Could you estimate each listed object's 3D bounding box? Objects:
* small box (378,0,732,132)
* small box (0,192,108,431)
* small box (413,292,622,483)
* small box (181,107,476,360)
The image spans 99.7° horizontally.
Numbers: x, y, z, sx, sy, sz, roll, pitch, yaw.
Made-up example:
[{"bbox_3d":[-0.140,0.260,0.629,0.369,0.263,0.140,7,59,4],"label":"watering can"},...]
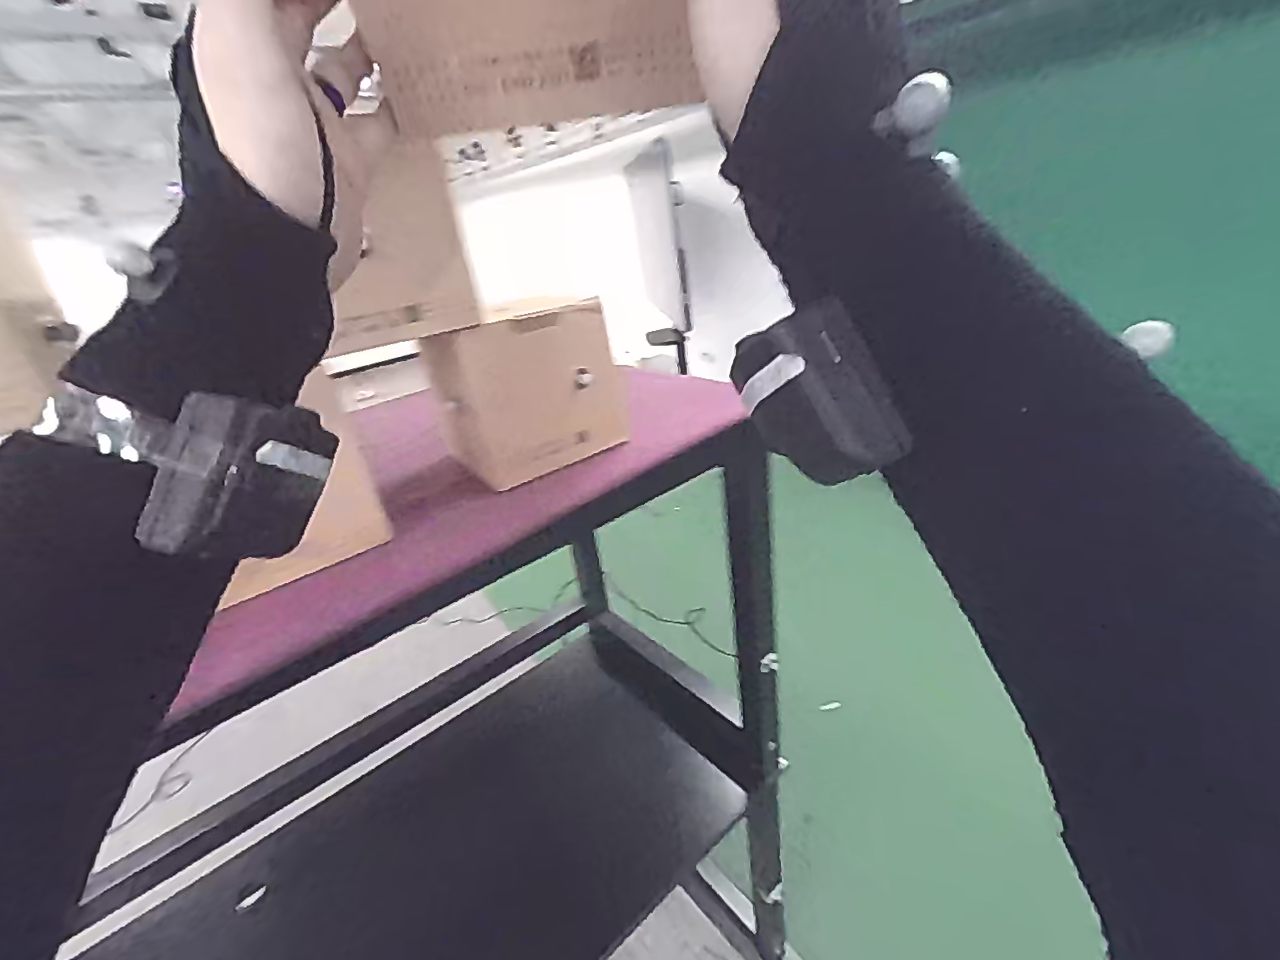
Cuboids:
[{"bbox_3d":[-0.043,-0.297,0.273,0.168,0.176,0.179,-4,50,6],"label":"small box"},{"bbox_3d":[-0.489,-0.104,0.328,0.179,0.176,0.168,-23,28,-30],"label":"small box"},{"bbox_3d":[-0.139,-0.111,0.619,0.168,0.176,0.179,-23,28,-28],"label":"small box"},{"bbox_3d":[-0.266,-0.211,0.484,0.168,0.176,0.179,-23,28,-28],"label":"small box"}]
